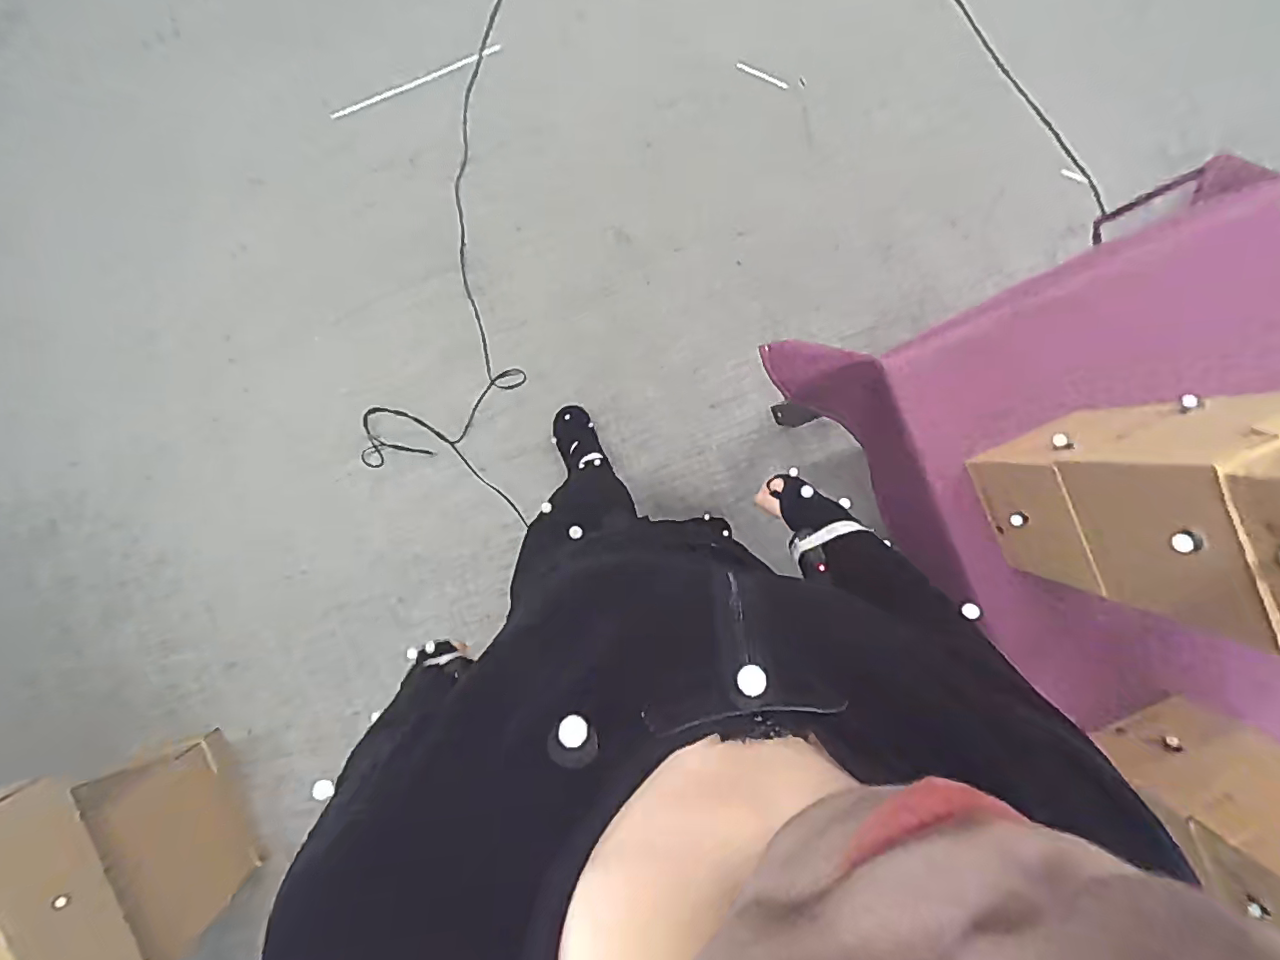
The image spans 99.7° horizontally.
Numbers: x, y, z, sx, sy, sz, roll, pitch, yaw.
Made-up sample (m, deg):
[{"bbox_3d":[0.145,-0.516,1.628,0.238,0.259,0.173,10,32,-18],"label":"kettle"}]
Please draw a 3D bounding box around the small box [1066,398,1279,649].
[{"bbox_3d":[0.564,0.029,0.517,0.168,0.176,0.179,-24,94,2],"label":"small box"}]

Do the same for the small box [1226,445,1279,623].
[{"bbox_3d":[0.573,0.035,0.354,0.179,0.176,0.168,-26,93,2],"label":"small box"}]

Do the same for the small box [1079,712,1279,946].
[{"bbox_3d":[0.735,0.432,0.707,0.168,0.176,0.179,-24,92,2],"label":"small box"}]

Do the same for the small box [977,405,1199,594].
[{"bbox_3d":[0.566,0.019,0.681,0.179,0.176,0.168,-23,94,1],"label":"small box"}]

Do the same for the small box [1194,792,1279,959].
[{"bbox_3d":[0.740,0.436,0.544,0.179,0.176,0.168,-23,94,2],"label":"small box"}]
